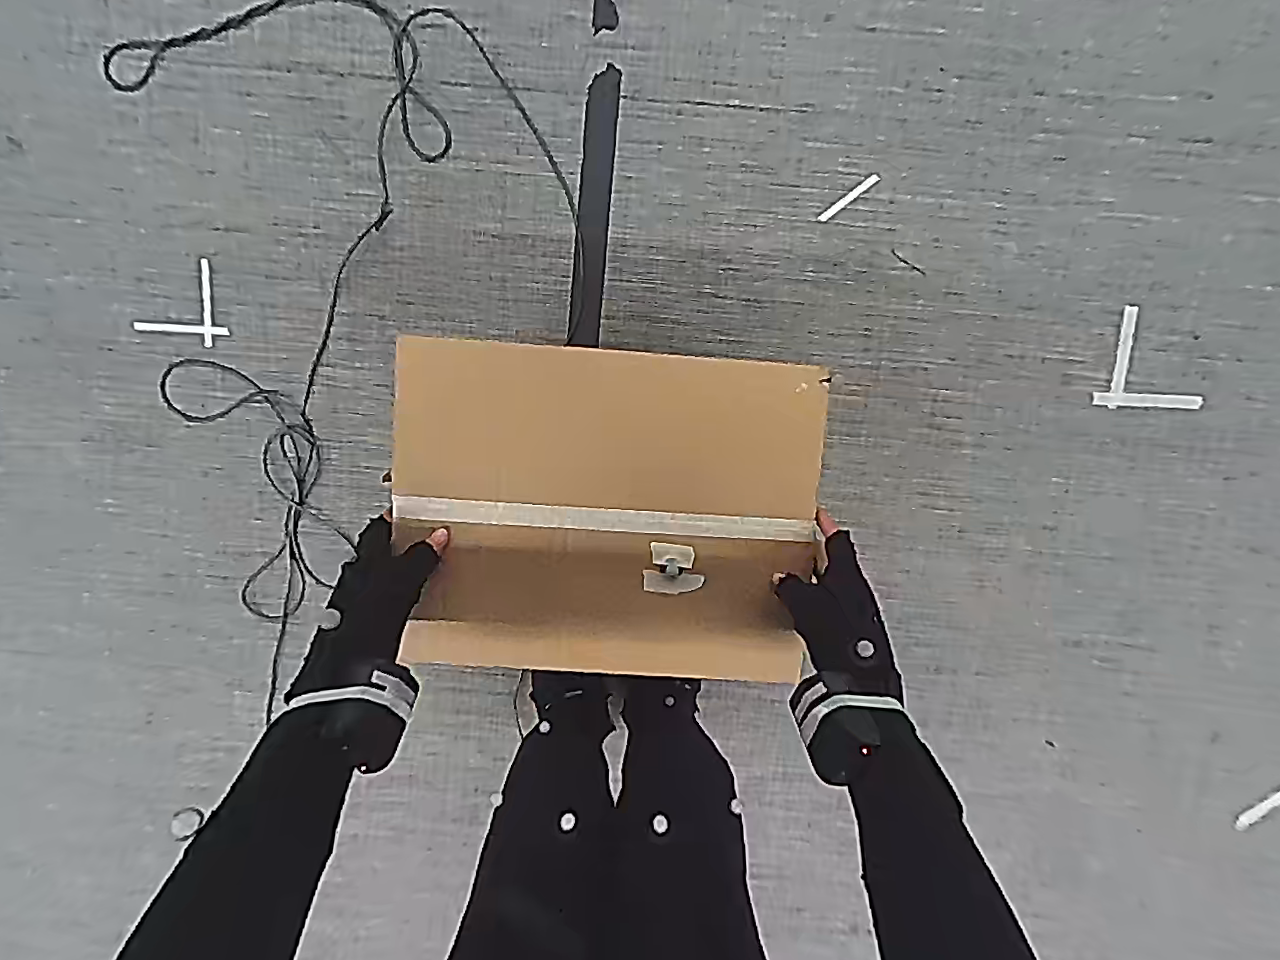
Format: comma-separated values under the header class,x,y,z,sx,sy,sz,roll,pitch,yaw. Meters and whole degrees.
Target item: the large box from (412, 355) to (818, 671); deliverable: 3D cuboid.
class,x,y,z,sx,sy,sz,roll,pitch,yaw
large box,-0.035,0.025,0.691,0.408,0.320,0.320,4,97,-2
